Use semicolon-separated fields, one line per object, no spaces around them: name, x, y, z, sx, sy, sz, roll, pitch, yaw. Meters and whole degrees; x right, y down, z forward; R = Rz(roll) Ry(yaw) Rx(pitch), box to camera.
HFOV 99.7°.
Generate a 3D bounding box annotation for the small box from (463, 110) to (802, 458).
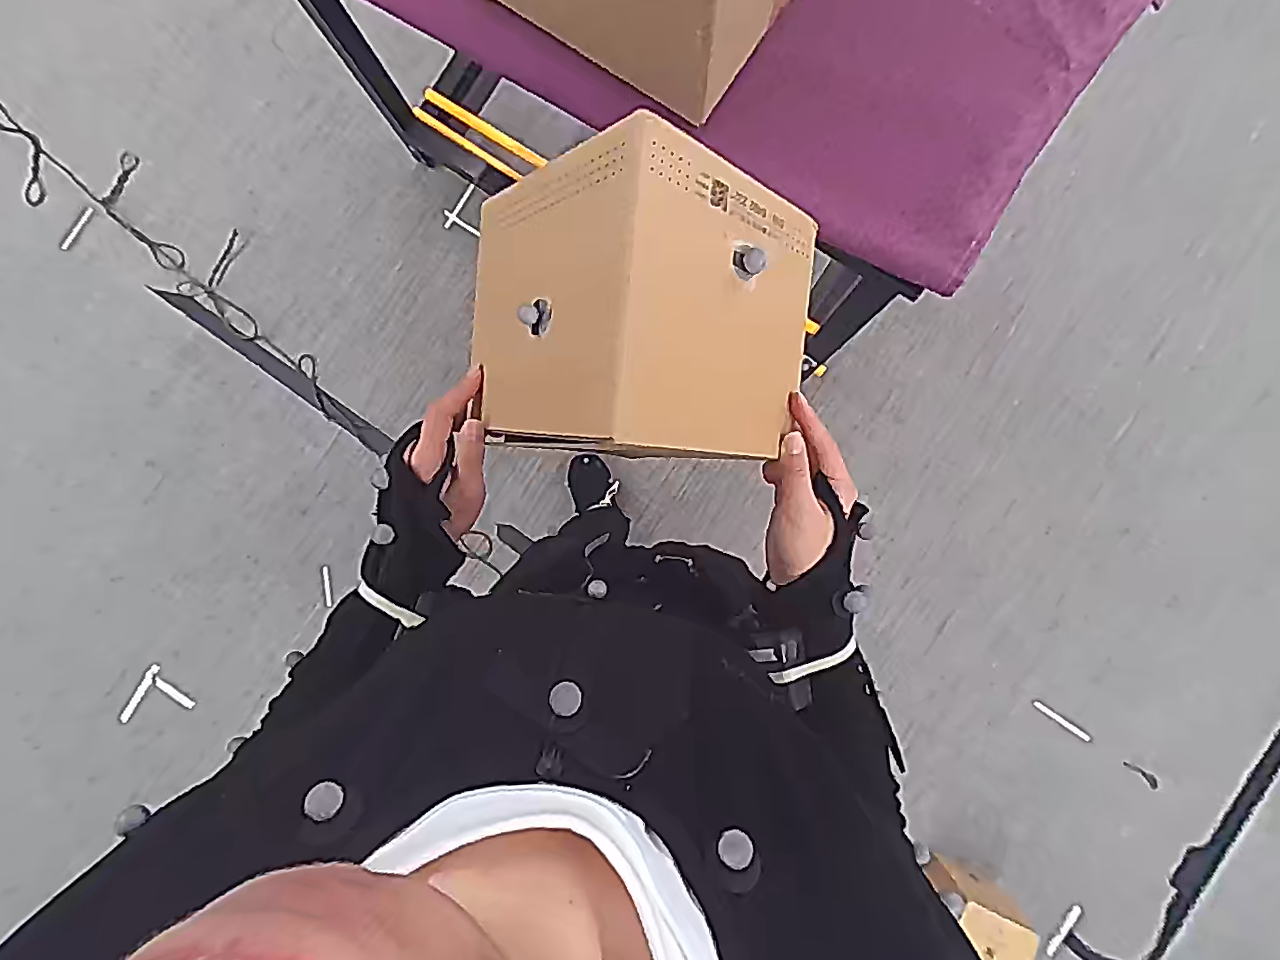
small box;-0.006;-0.111;0.384;0.179;0.168;0.176;7;94;47
